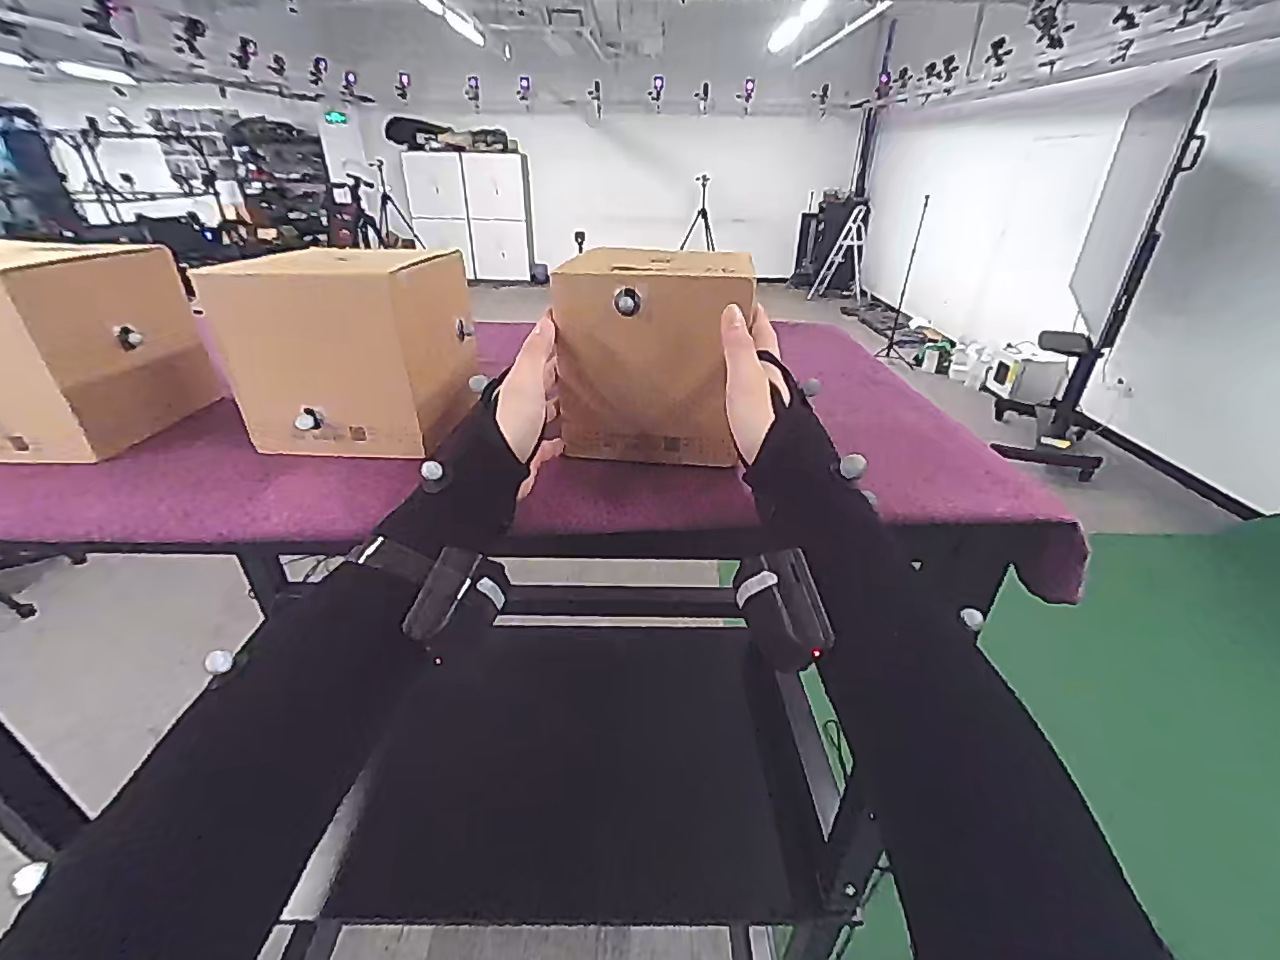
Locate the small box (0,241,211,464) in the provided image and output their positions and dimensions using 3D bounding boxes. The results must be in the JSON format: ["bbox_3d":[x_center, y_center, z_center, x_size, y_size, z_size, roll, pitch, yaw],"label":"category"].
[{"bbox_3d":[-0.566,-0.129,0.522,0.168,0.176,0.179,0,30,-1],"label":"small box"}]

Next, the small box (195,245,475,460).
[{"bbox_3d":[-0.275,-0.135,0.542,0.168,0.176,0.179,1,30,3],"label":"small box"}]

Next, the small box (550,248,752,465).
[{"bbox_3d":[0.019,-0.130,0.536,0.168,0.176,0.179,3,29,8],"label":"small box"}]
